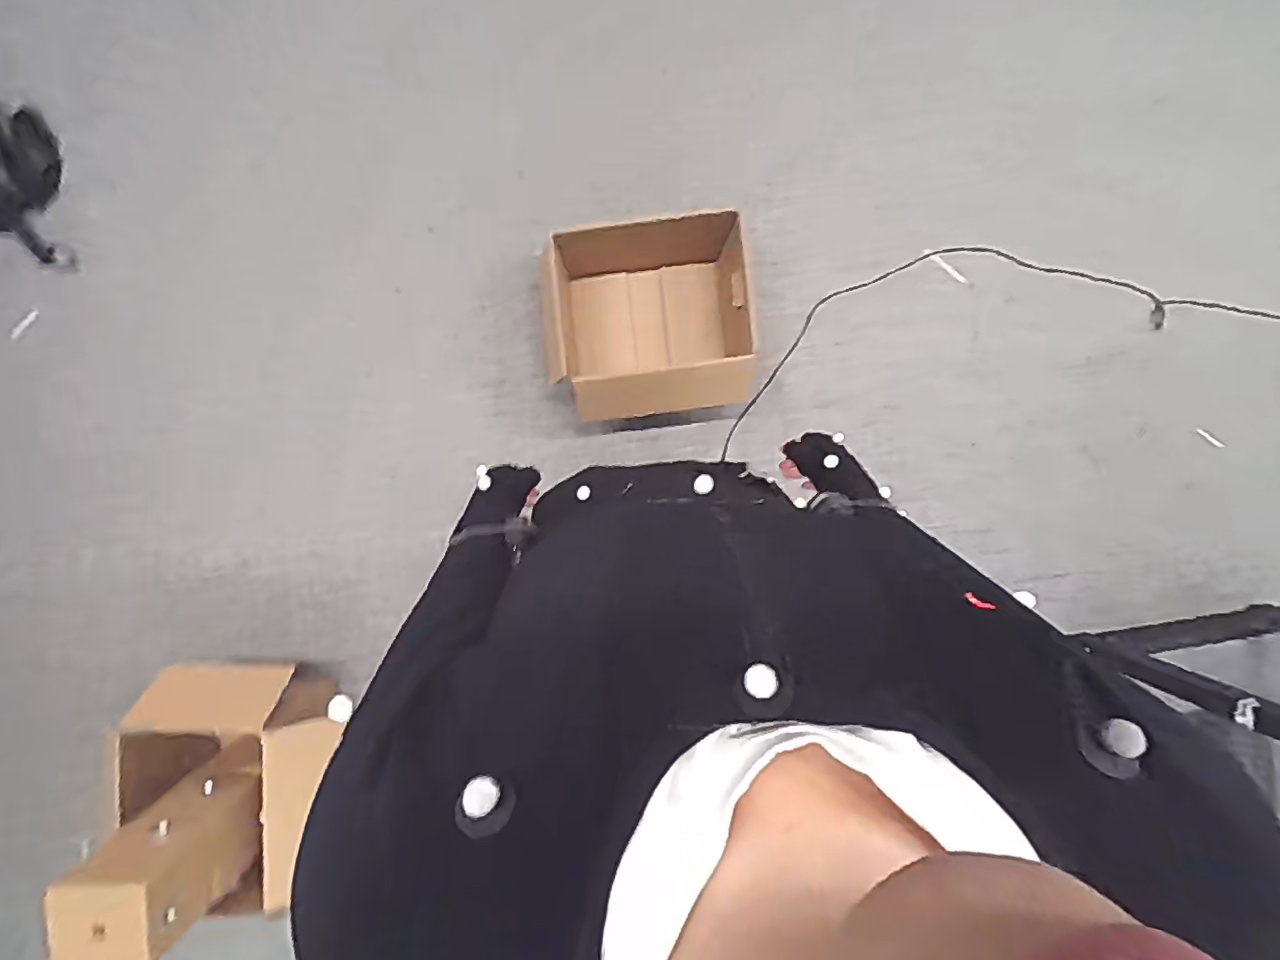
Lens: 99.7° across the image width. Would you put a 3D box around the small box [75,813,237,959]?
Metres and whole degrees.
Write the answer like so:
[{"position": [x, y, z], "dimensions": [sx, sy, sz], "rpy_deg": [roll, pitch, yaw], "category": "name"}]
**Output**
[{"position": [-0.918, 0.783, 1.044], "dimensions": [0.168, 0.176, 0.179], "rpy_deg": [0, 95, -3], "category": "small box"}]
